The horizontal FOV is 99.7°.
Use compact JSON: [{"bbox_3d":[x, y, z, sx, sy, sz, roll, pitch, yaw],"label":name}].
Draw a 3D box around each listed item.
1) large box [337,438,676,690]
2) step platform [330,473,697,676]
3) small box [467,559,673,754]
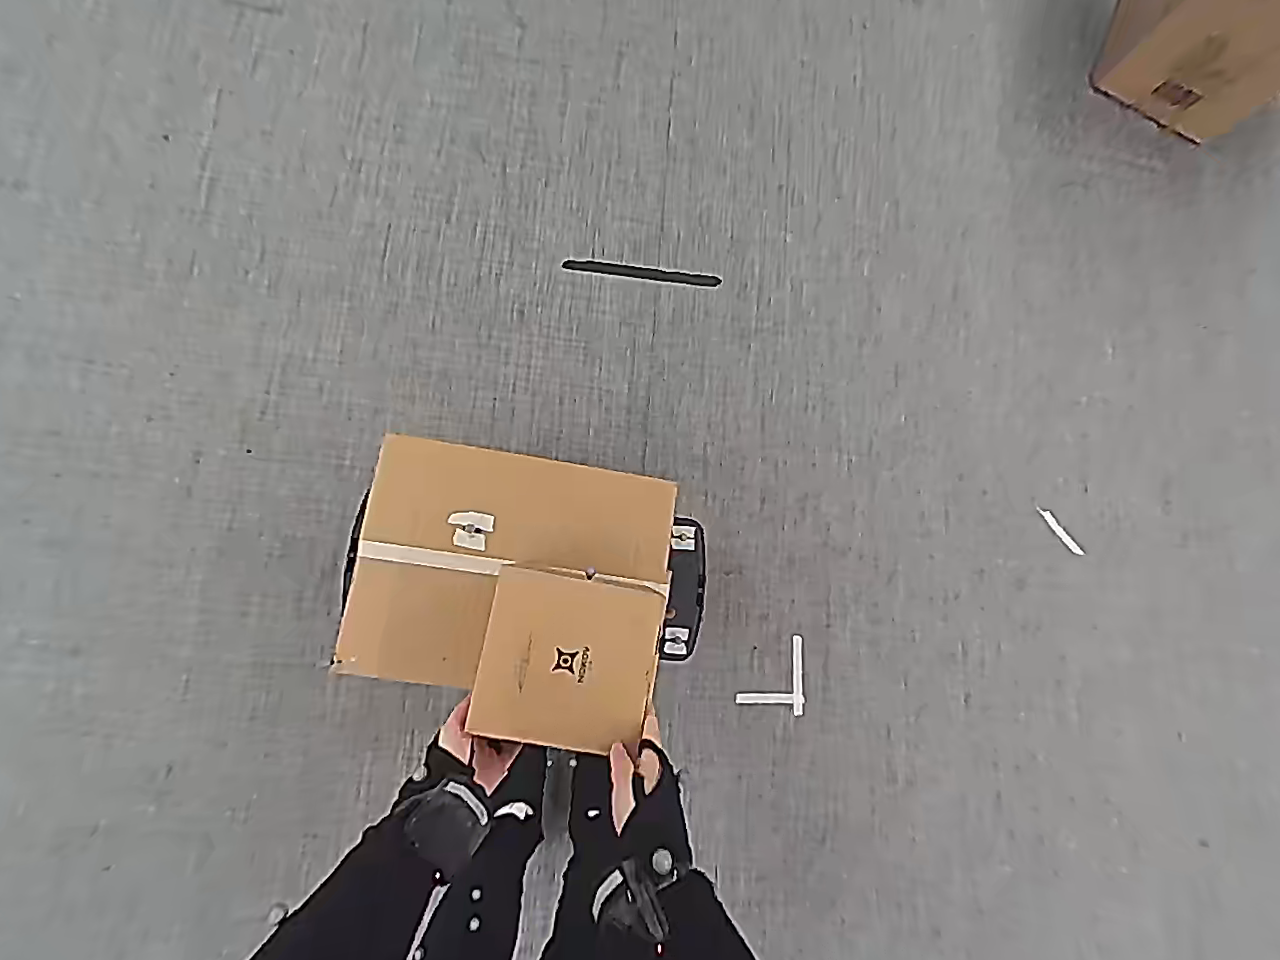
[{"bbox_3d":[-0.177,0.144,0.858,0.408,0.320,0.320,9,79,-5],"label":"large box"},{"bbox_3d":[-0.229,0.190,1.088,0.684,0.204,0.286,12,80,-4],"label":"step platform"},{"bbox_3d":[-0.075,0.185,0.615,0.179,0.176,0.168,12,80,-5],"label":"small box"}]
